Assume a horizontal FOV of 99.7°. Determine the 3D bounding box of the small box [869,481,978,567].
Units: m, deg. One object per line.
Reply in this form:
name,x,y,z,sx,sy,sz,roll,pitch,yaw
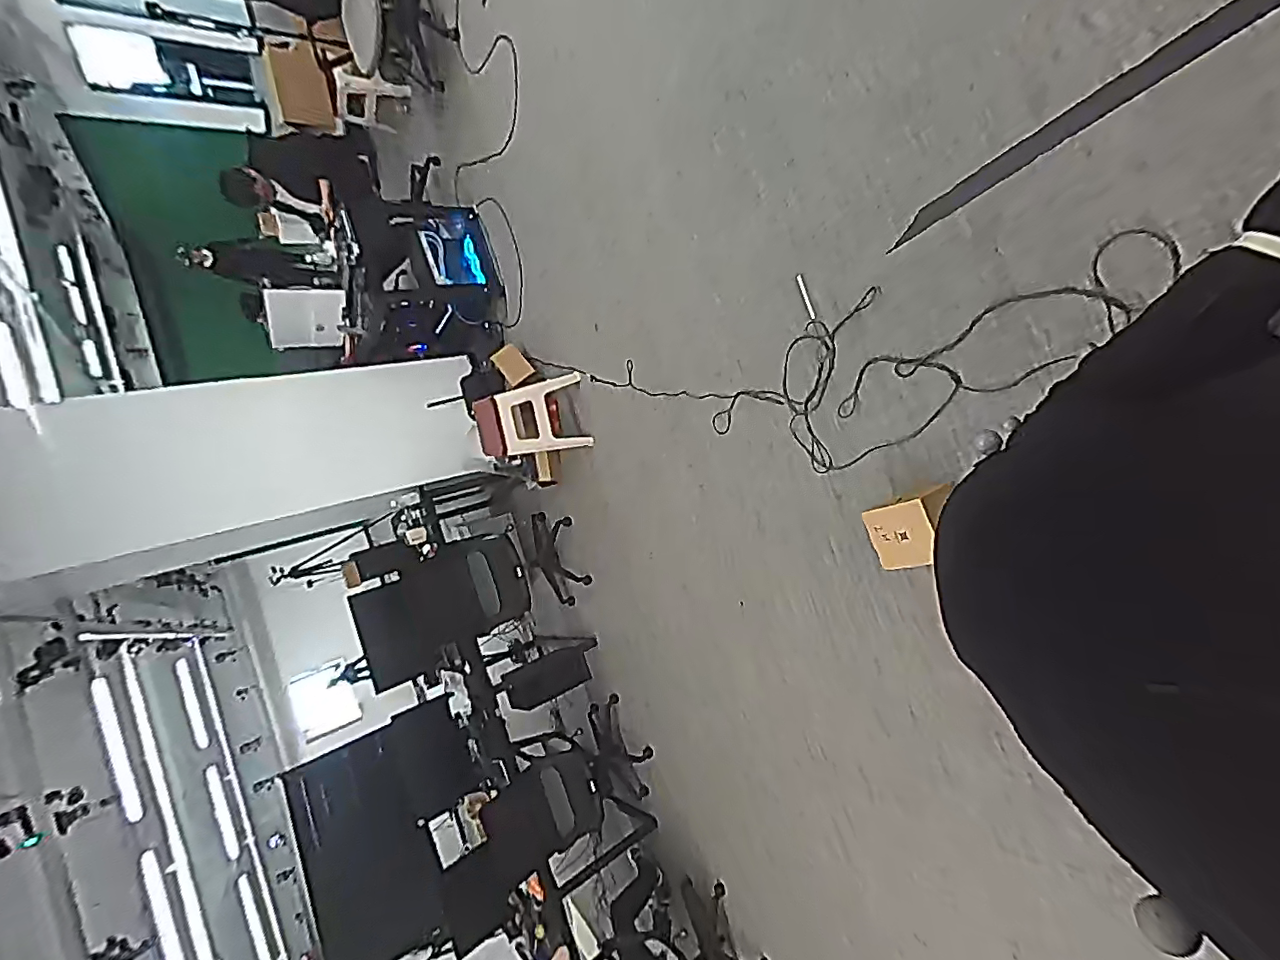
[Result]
small box,0.739,0.113,1.400,0.179,0.176,0.168,-27,81,57
